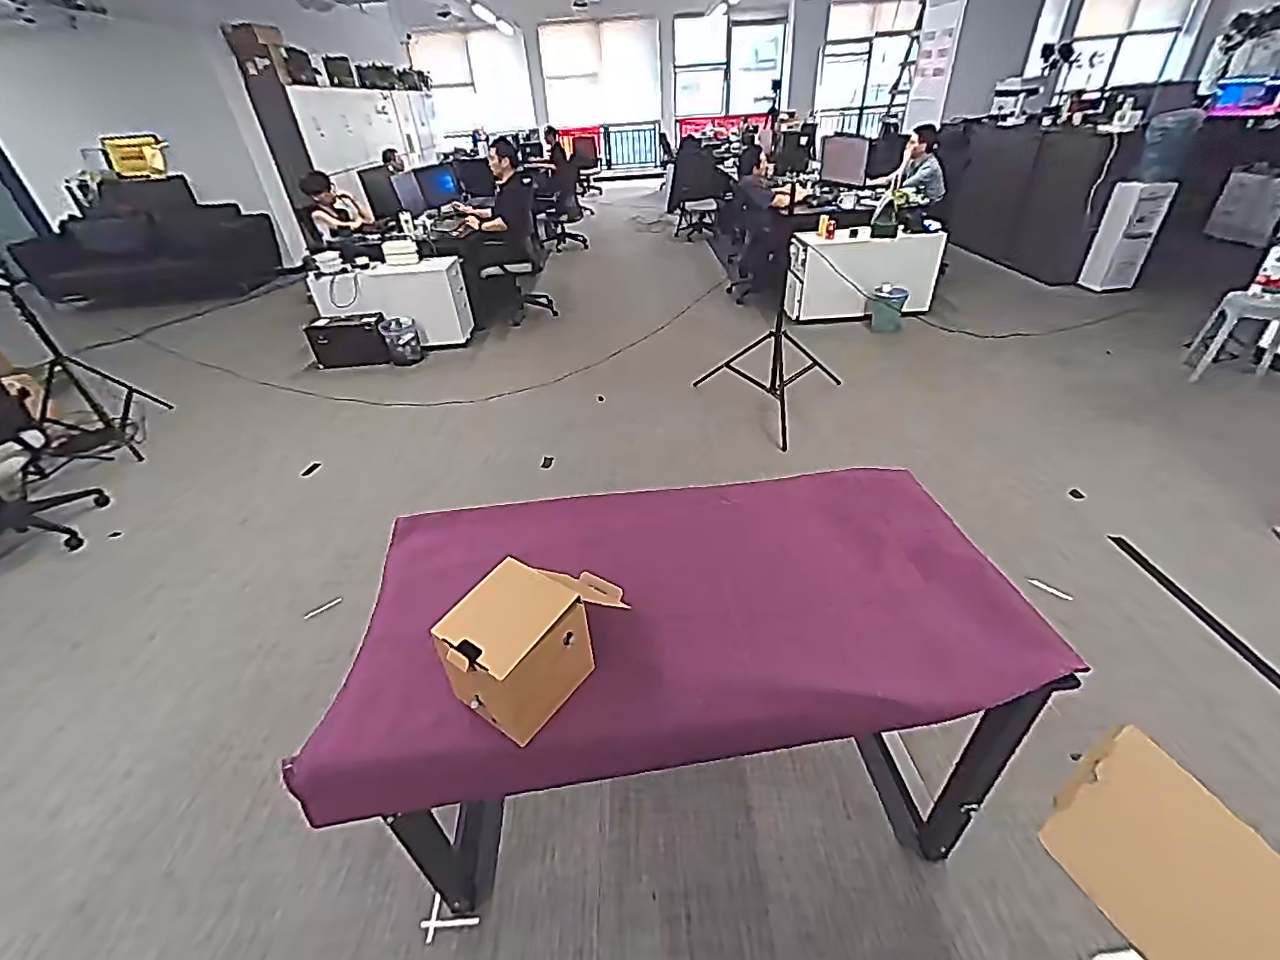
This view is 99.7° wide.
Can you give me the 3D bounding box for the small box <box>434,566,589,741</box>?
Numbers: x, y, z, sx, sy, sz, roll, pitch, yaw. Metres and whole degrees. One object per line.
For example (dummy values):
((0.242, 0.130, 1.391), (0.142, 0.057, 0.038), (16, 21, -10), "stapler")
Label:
((-0.198, 0.278, 0.884), (0.168, 0.176, 0.179), (19, 41, 31), "small box")
